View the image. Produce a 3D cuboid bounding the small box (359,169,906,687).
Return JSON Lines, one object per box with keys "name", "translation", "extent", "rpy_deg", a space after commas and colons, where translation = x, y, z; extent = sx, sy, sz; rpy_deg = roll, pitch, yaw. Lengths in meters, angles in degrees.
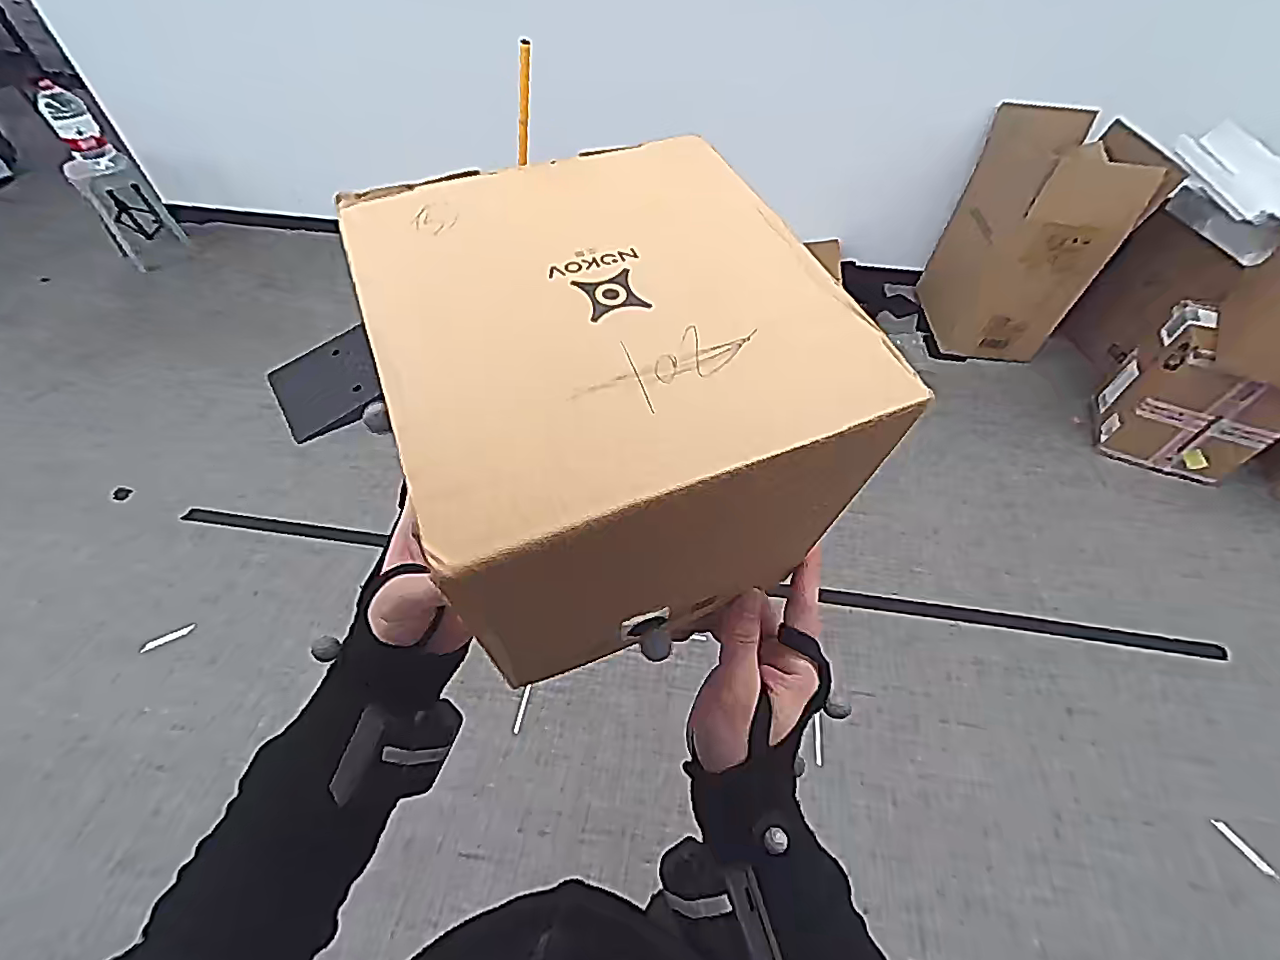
{"name": "small box", "translation": [-0.016, -0.020, 0.280], "extent": [0.168, 0.176, 0.179], "rpy_deg": [-21, 63, -15]}
